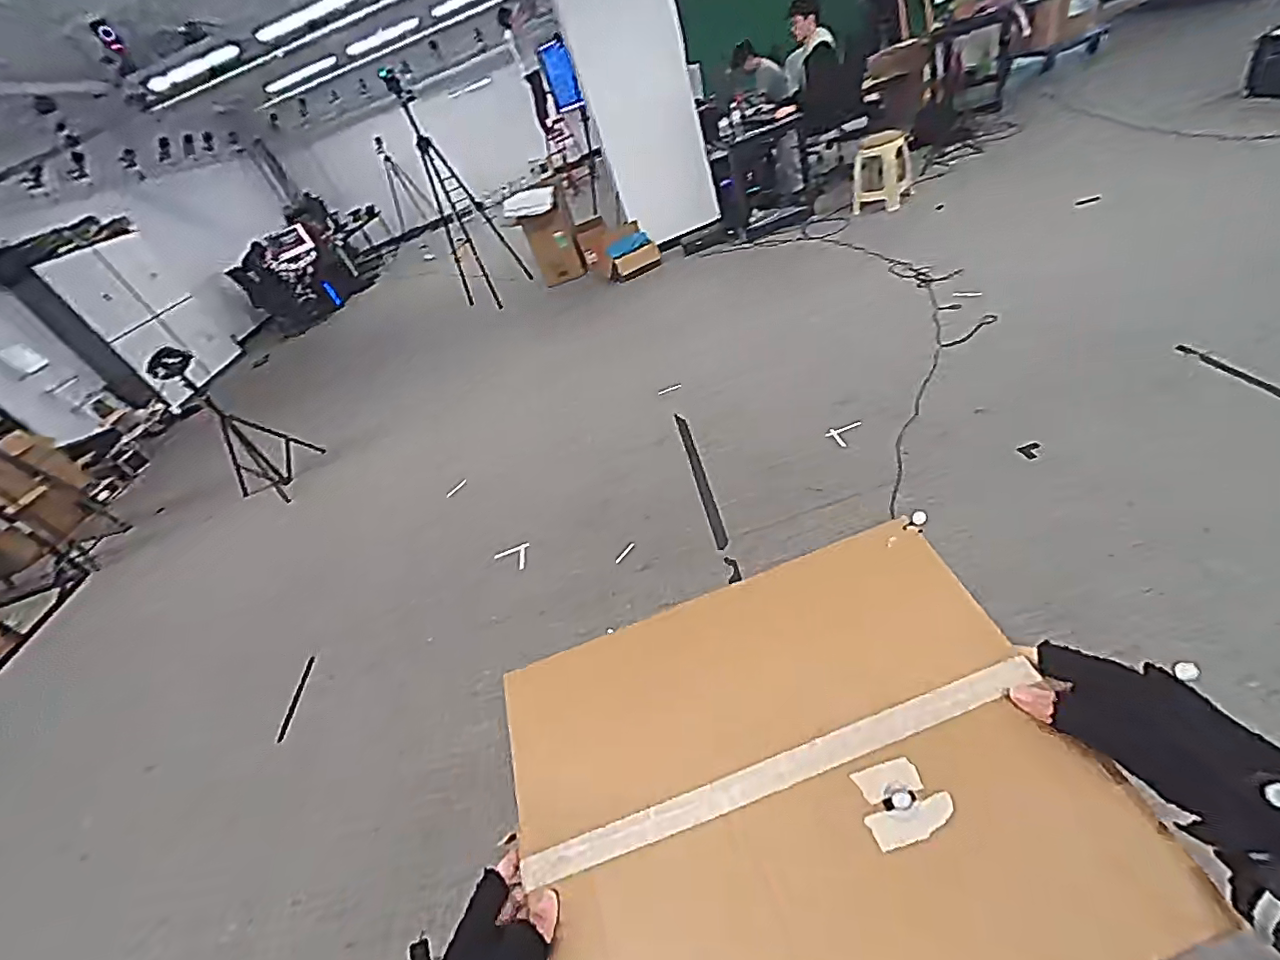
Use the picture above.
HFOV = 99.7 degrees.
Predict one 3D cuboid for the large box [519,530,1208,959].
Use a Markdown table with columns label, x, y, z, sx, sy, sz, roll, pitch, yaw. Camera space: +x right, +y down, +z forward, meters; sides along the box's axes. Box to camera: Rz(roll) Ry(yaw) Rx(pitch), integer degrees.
| label | x | y | z | sx | sy | sz | roll | pitch | yaw |
| --- | --- | --- | --- | --- | --- | --- | --- | --- | --- |
| large box | 0.145 | 0.318 | 0.522 | 0.408 | 0.320 | 0.320 | -22 | 49 | -1 |
